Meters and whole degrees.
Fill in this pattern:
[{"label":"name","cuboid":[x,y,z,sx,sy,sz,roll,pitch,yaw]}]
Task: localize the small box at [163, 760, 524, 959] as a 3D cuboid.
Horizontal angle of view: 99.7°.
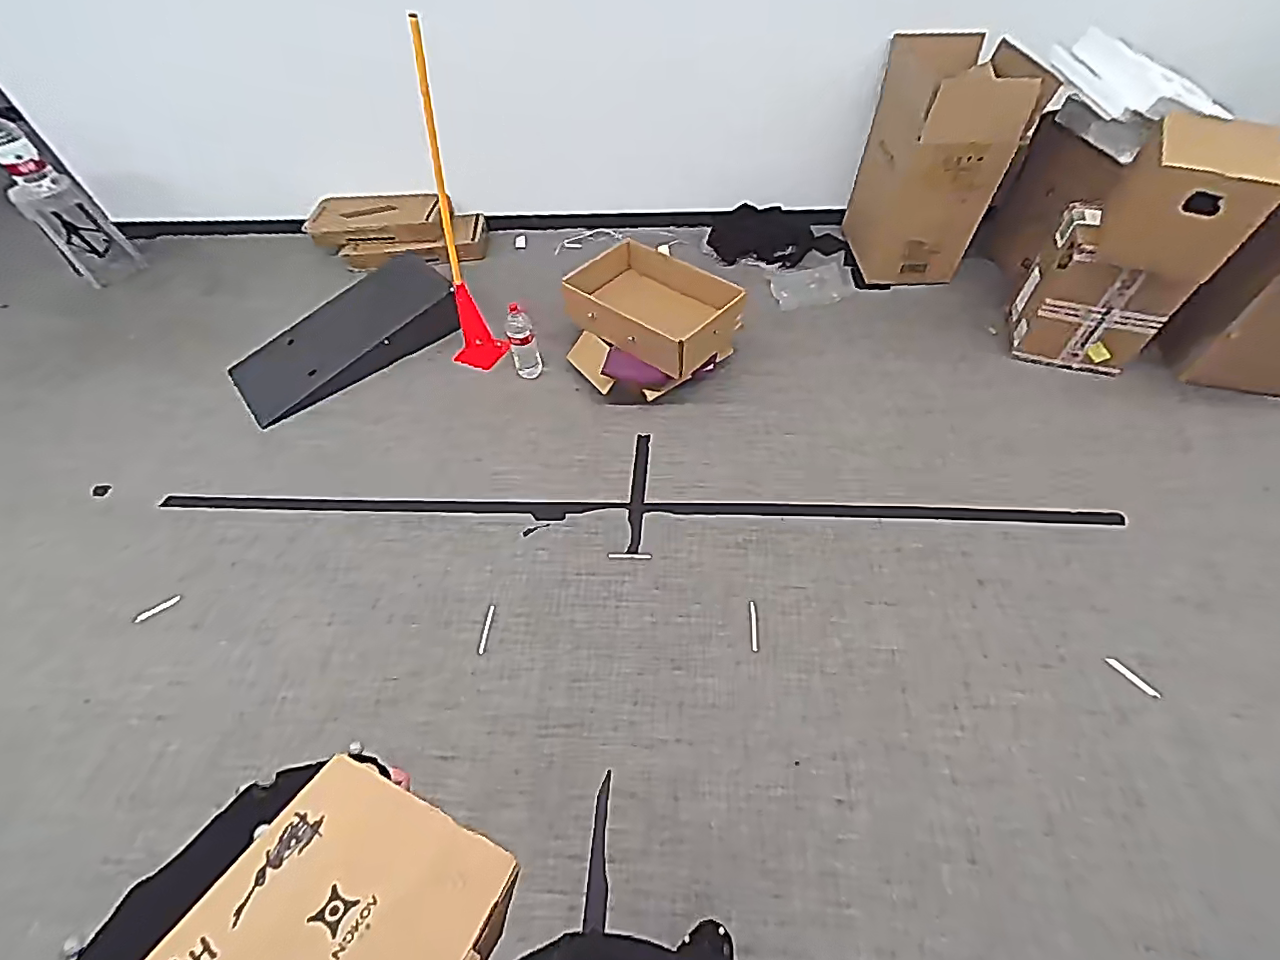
[{"label":"small box","cuboid":[-0.214,0.364,0.412,0.179,0.176,0.168,24,34,10]}]
